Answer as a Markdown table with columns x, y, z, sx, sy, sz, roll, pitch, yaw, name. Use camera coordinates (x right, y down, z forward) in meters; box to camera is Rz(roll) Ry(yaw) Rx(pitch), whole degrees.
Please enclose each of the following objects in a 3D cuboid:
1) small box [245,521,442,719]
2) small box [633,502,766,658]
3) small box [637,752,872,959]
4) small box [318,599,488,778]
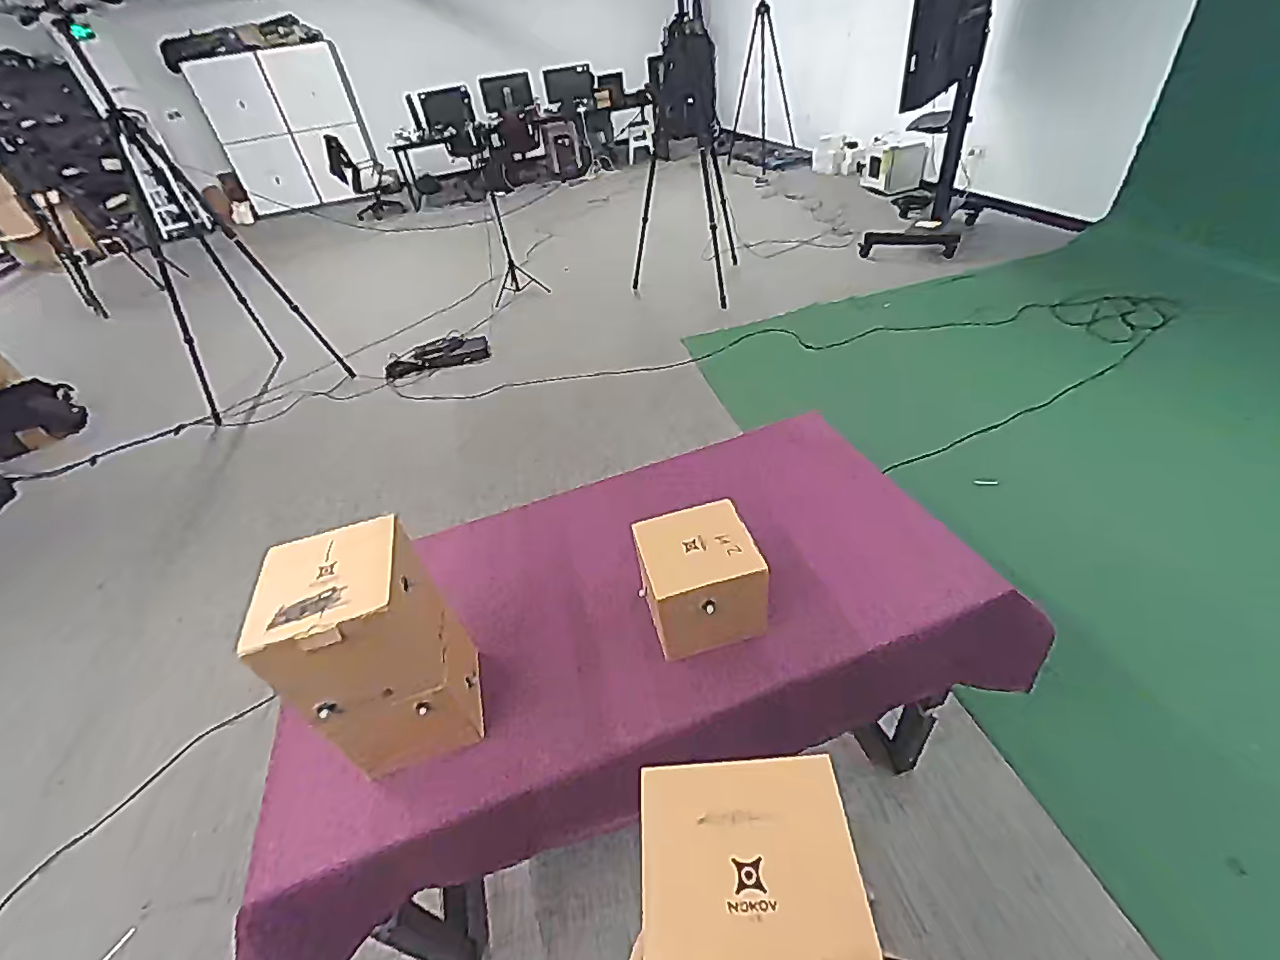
| x | y | z | sx | sy | sz | roll | pitch | yaw | name |
| --- | --- | --- | --- | --- | --- | --- | --- | --- | --- |
| -0.374 | 0.190 | 0.722 | 0.168 | 0.176 | 0.179 | -17 | 39 | -9 | small box |
| 0.100 | 0.168 | 0.896 | 0.179 | 0.176 | 0.168 | -15 | 40 | -4 | small box |
| 0.092 | 0.361 | 0.463 | 0.168 | 0.176 | 0.179 | -7 | 40 | 6 | small box |
| -0.348 | 0.318 | 0.823 | 0.179 | 0.176 | 0.168 | -17 | 40 | -8 | small box |
